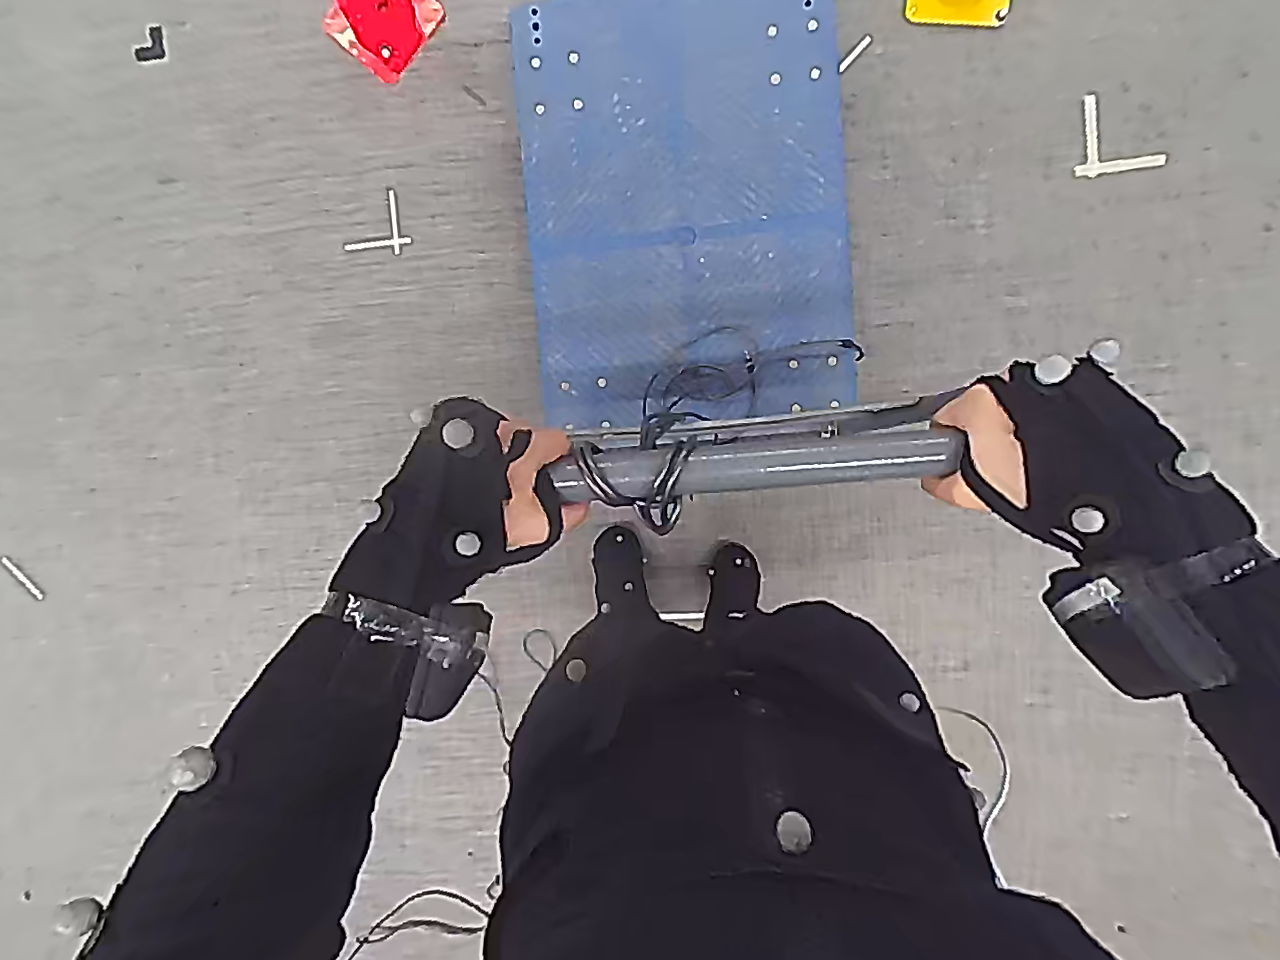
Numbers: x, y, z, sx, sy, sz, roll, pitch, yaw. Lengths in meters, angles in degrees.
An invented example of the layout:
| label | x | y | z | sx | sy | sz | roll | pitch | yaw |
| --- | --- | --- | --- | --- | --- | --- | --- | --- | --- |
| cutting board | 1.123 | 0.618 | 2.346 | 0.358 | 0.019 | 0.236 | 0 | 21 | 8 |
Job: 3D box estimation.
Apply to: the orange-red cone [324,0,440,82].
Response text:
| label | x | y | z | sx | sy | sz | roll | pitch | yaw |
| --- | --- | --- | --- | --- | --- | --- | --- | --- | --- |
| orange-red cone | -0.555 | -0.969 | 0.979 | 0.198 | 0.360 | 0.199 | 42 | 94 | -1 |
